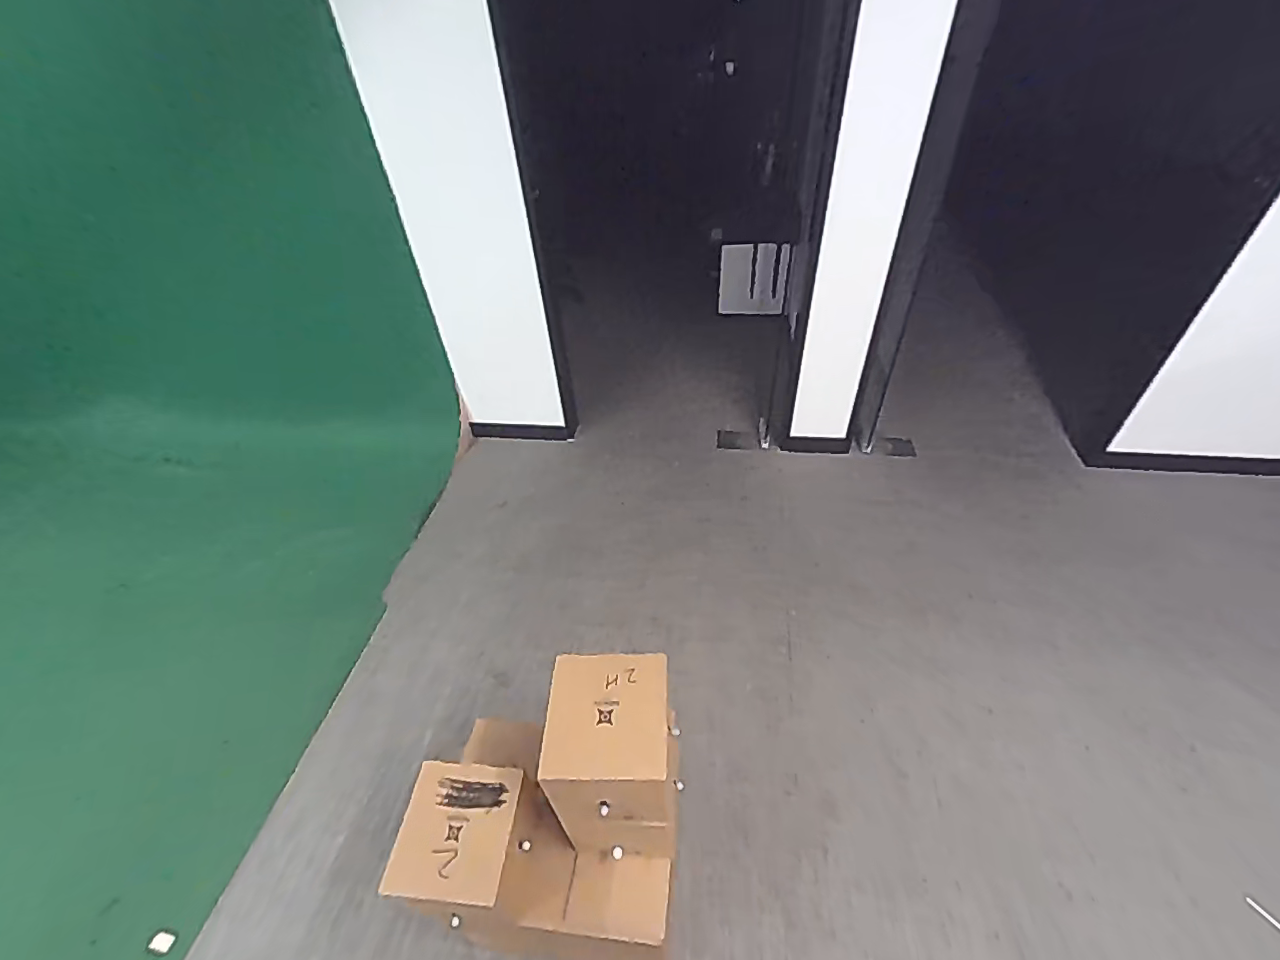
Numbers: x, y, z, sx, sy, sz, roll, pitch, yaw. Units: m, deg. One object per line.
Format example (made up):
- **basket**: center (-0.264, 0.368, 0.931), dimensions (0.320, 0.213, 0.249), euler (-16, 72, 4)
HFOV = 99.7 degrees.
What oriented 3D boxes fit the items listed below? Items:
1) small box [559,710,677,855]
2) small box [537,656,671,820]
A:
- **small box**: center (-0.025, 0.500, 0.908), dimensions (0.168, 0.176, 0.179), euler (0, 45, 8)
- **small box**: center (-0.040, 0.381, 0.797), dimensions (0.168, 0.176, 0.179), euler (-1, 42, 5)
